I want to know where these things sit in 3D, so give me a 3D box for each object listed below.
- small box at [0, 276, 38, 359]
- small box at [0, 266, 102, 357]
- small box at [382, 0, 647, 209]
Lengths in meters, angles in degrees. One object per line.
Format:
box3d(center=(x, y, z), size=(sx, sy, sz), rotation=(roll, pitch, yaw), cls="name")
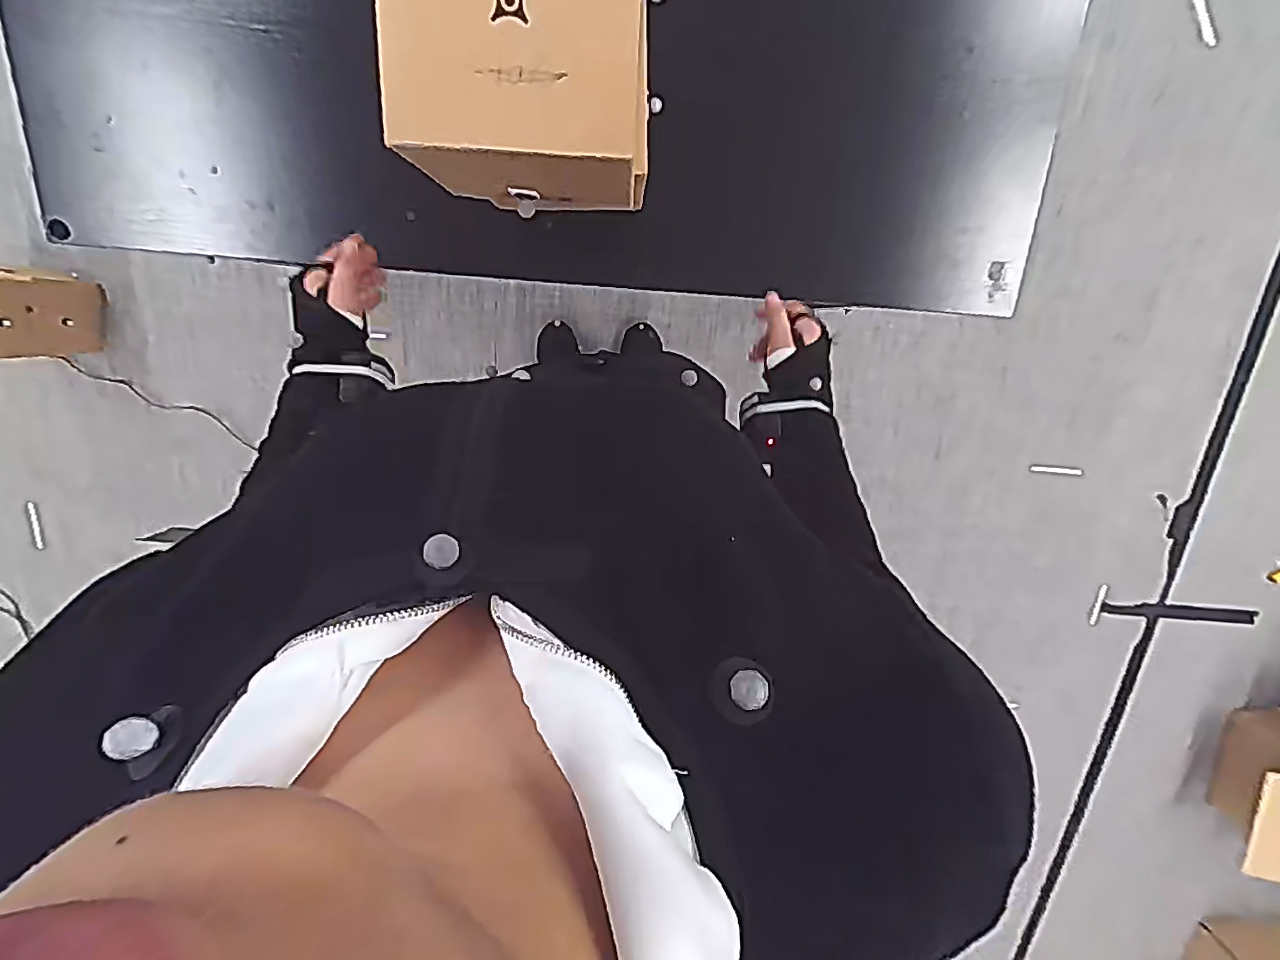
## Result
box3d(center=(-1.406, -0.345, 1.111), size=(0.179, 0.176, 0.168), rotation=(9, 104, -4), cls="small box")
box3d(center=(-1.422, -0.397, 1.266), size=(0.168, 0.176, 0.179), rotation=(12, 106, -5), cls="small box")
box3d(center=(-0.080, -0.324, 0.412), size=(0.168, 0.176, 0.179), rotation=(2, 107, -1), cls="small box")
